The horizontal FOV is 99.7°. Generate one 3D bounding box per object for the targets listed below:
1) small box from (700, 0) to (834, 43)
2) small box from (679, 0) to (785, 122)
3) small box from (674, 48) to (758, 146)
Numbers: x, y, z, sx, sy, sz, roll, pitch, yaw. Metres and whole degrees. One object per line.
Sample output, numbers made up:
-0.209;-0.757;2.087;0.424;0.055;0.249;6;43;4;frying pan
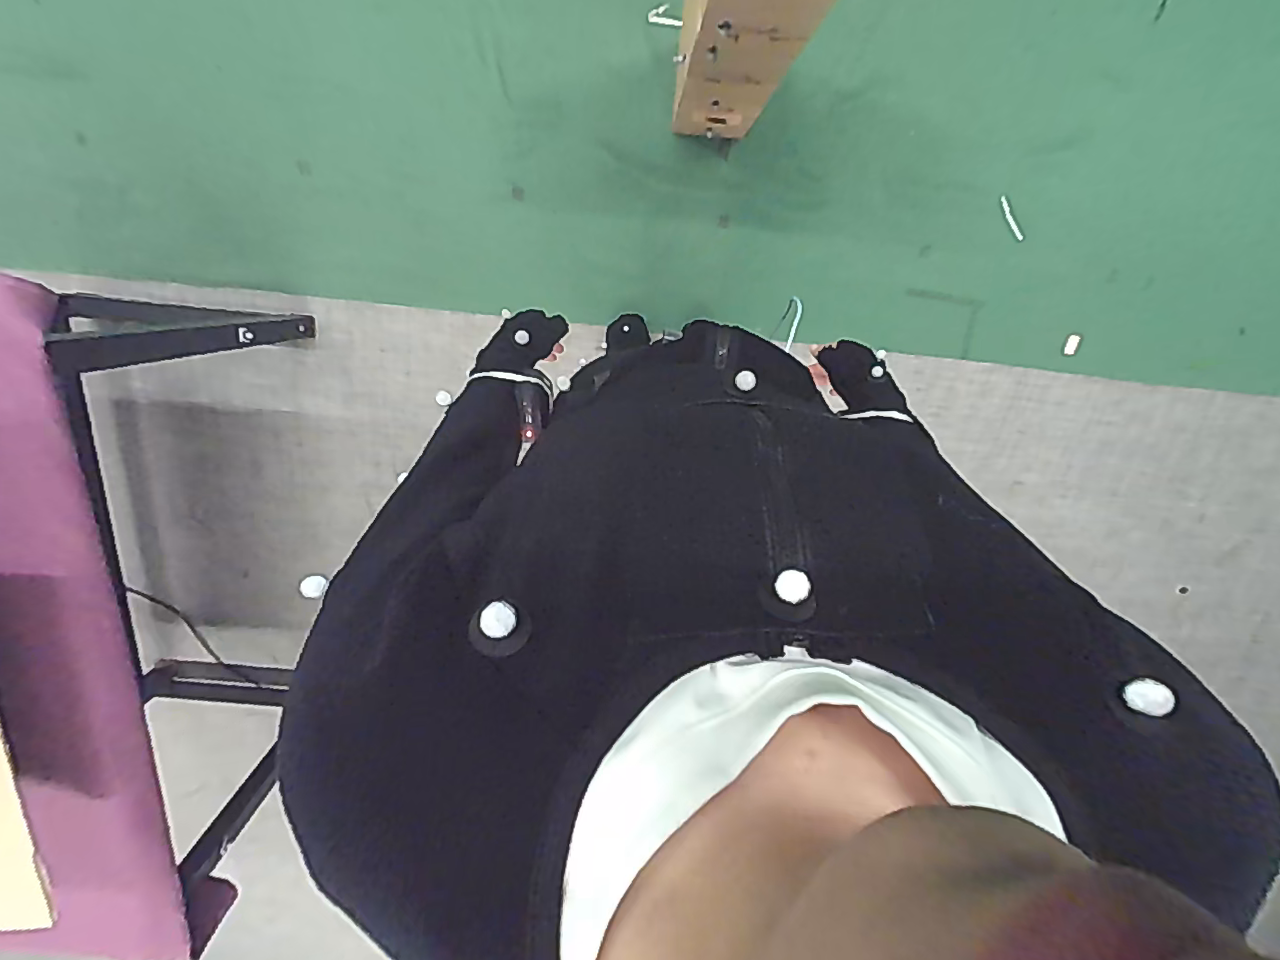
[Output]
0.170;-0.689;0.680;0.168;0.176;0.179;1;108;-2;small box
0.165;-0.789;0.994;0.168;0.176;0.179;2;109;-2;small box
0.164;-0.839;1.148;0.168;0.176;0.179;4;108;-2;small box
